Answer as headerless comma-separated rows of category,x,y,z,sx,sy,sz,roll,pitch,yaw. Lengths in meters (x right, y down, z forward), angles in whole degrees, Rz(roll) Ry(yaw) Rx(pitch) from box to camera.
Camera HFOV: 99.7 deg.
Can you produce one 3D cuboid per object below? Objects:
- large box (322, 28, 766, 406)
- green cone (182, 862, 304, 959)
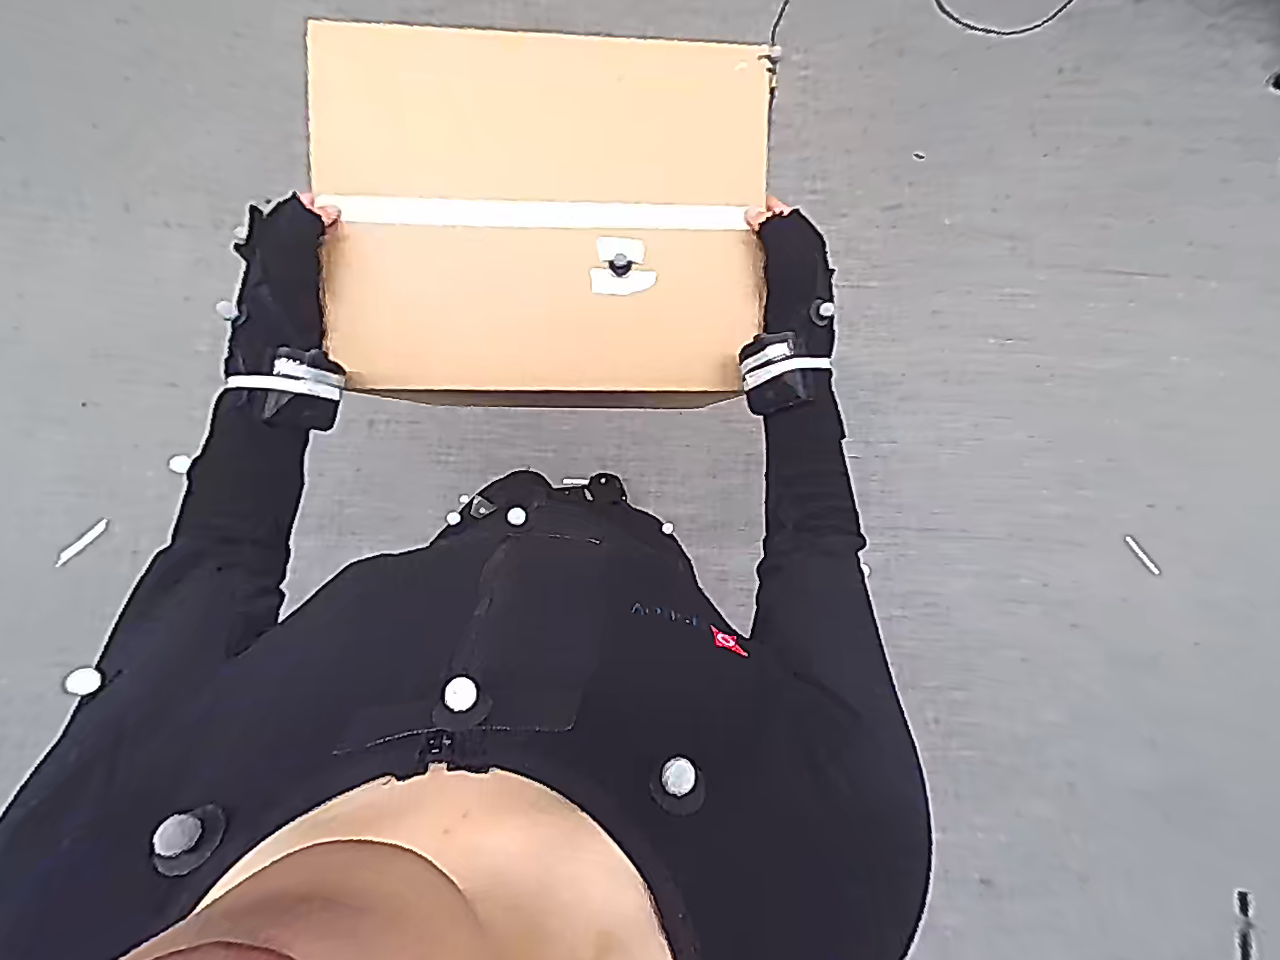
large box,-0.093,-0.256,0.645,0.408,0.320,0.320,-1,95,-5
green cone,-0.964,1.076,1.182,0.202,0.368,0.200,-36,87,-4
